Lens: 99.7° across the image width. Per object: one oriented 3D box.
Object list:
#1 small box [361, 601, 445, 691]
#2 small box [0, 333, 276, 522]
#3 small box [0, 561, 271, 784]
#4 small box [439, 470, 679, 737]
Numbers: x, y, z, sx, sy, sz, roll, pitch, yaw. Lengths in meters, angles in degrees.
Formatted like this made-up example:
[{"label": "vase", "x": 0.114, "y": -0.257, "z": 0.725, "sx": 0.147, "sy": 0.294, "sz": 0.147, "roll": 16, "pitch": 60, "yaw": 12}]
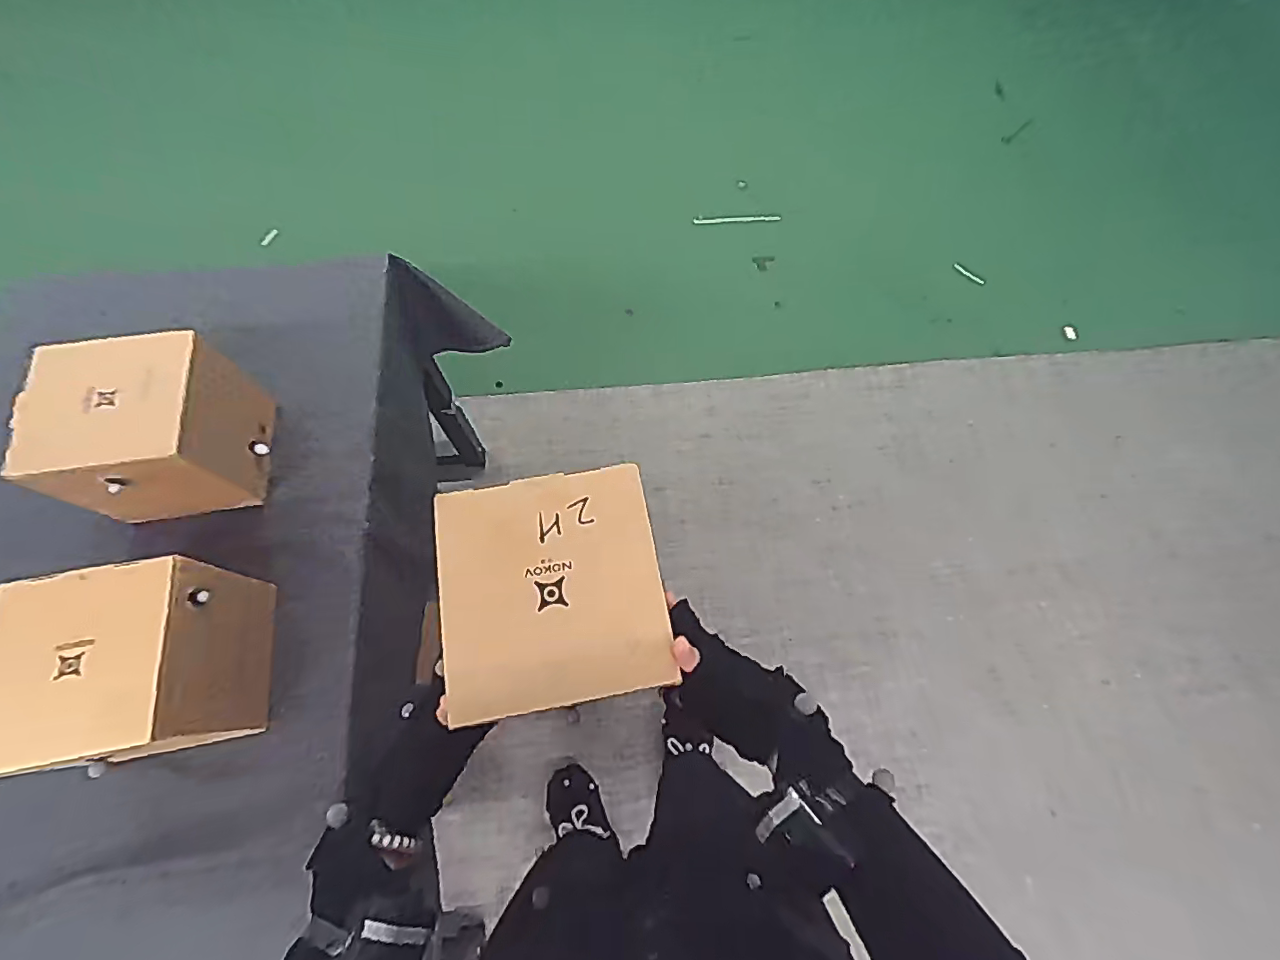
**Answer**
[{"label": "small box", "x": -0.534, "y": 0.394, "z": 1.272, "sx": 0.168, "sy": 0.176, "sz": 0.179, "roll": -7, "pitch": 70, "yaw": -4}, {"label": "small box", "x": -0.595, "y": -0.055, "z": 0.668, "sx": 0.179, "sy": 0.176, "sz": 0.168, "roll": -8, "pitch": 70, "yaw": -5}, {"label": "small box", "x": -0.524, "y": 0.200, "z": 0.569, "sx": 0.168, "sy": 0.176, "sz": 0.179, "roll": -10, "pitch": 69, "yaw": -5}, {"label": "small box", "x": -0.066, "y": 0.111, "z": 0.476, "sx": 0.168, "sy": 0.176, "sz": 0.179, "roll": -9, "pitch": 69, "yaw": -6}]
